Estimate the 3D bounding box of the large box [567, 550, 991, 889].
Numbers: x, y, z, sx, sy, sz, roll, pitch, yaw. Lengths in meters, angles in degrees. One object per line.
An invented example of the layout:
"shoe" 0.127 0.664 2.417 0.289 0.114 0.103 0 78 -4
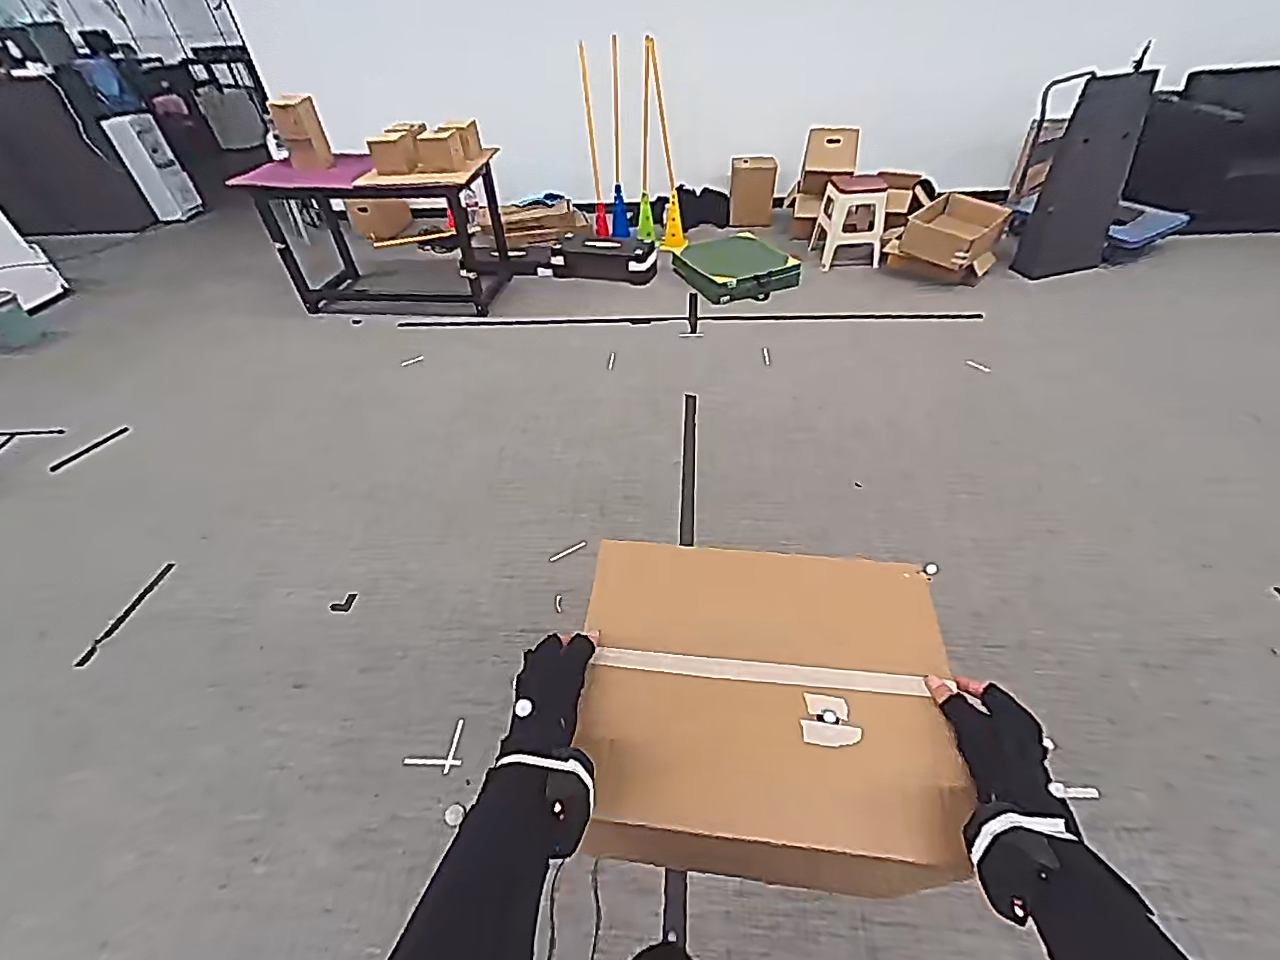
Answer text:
"large box" 0.143 0.316 0.715 0.408 0.320 0.320 4 50 6
